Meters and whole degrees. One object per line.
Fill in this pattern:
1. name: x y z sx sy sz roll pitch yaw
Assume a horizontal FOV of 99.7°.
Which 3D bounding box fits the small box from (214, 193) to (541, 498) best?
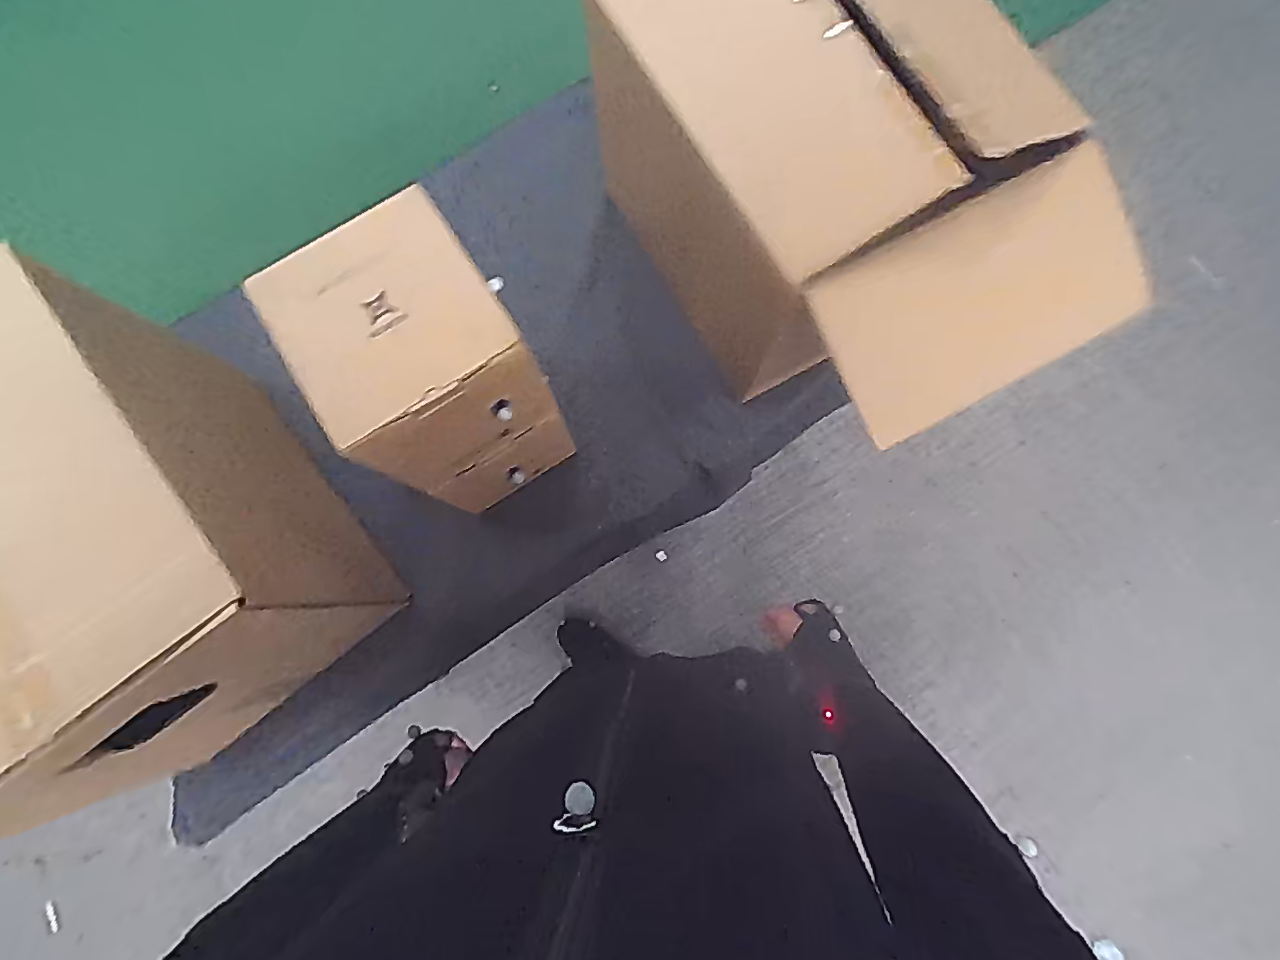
1. small box: -0.209 -0.098 0.482 0.168 0.176 0.179 -34 80 -6
